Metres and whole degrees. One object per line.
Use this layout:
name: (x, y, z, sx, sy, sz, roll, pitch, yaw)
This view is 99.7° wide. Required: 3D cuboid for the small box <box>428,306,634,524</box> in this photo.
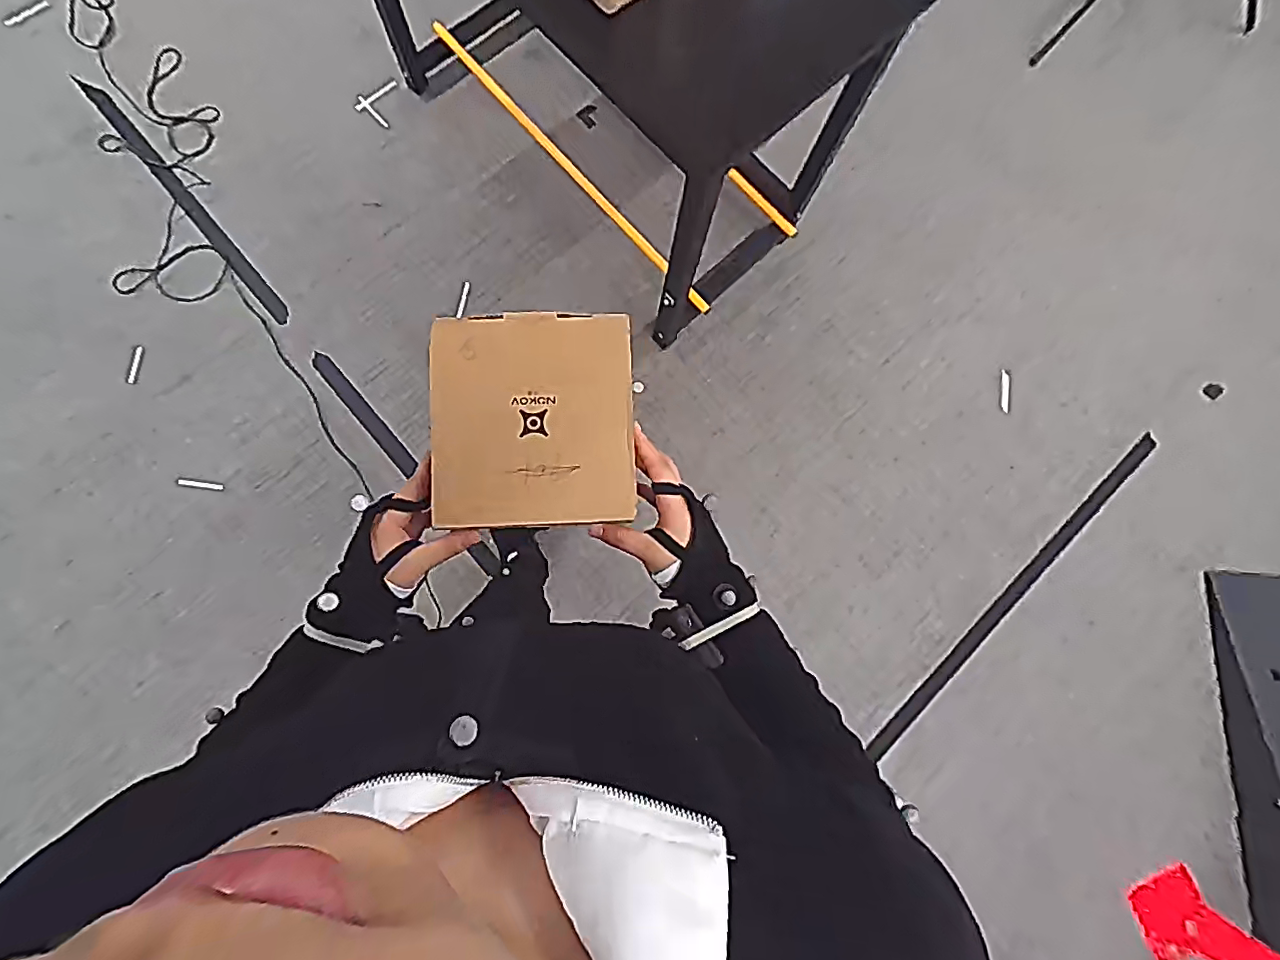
small box: (-0.094, -0.049, 0.519, 0.168, 0.176, 0.179, -2, 85, -4)
